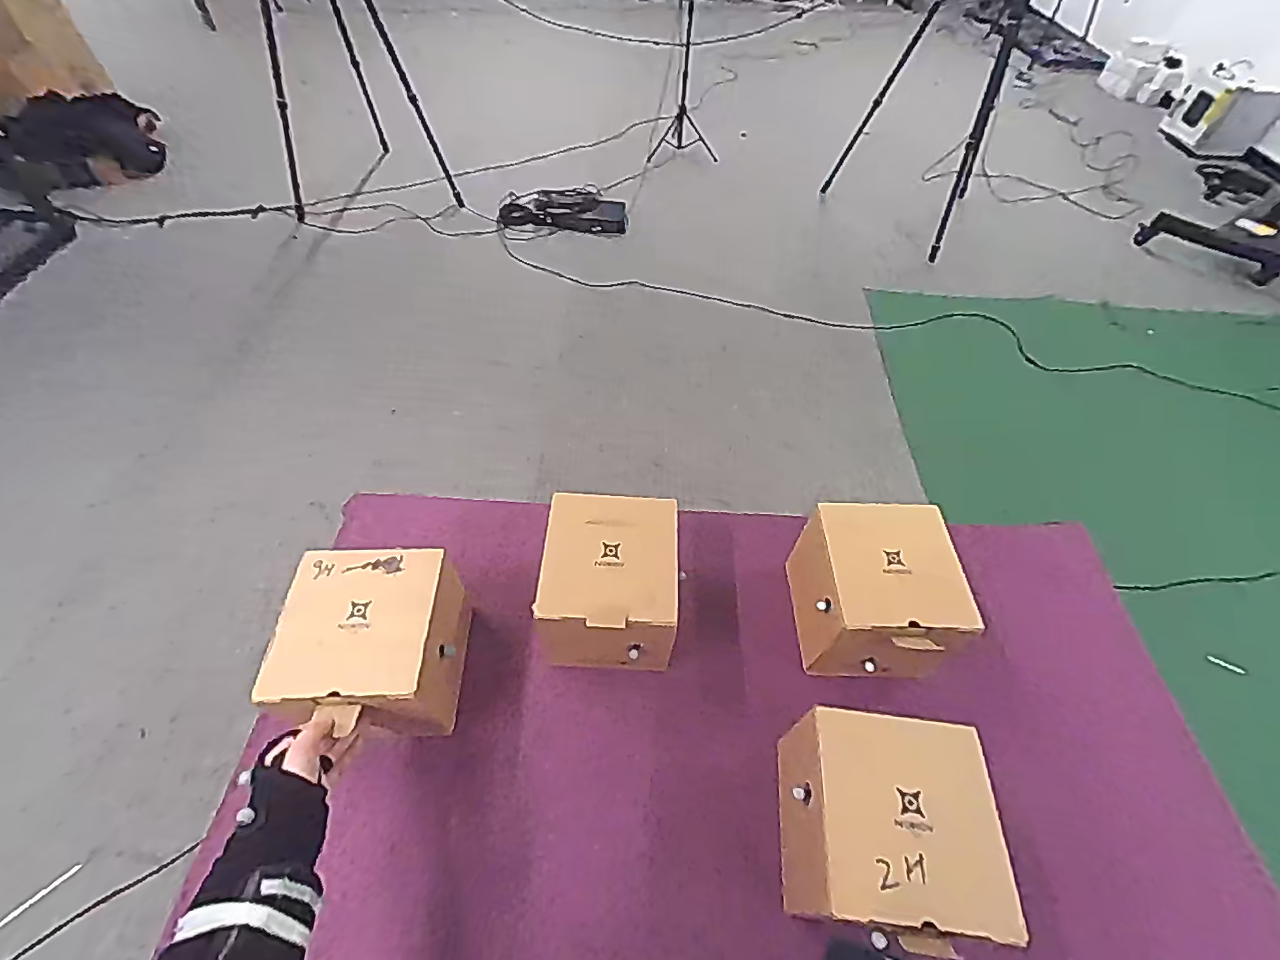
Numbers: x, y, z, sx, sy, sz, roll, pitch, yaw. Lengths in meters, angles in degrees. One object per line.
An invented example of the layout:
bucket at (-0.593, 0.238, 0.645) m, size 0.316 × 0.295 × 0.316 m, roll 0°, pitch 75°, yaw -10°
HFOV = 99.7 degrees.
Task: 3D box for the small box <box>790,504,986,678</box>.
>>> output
small box at (0.312, 0.152, 0.730) m, size 0.168 × 0.176 × 0.179 m, roll 1°, pitch 53°, yaw -1°

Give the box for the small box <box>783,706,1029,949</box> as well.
small box at (0.250, 0.359, 0.565) m, size 0.168 × 0.176 × 0.179 m, roll 6°, pitch 52°, yaw 3°

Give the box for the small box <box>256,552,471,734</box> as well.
small box at (-0.315, 0.205, 0.664) m, size 0.168 × 0.176 × 0.179 m, roll 0°, pitch 53°, yaw -3°

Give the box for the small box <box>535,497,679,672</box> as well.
small box at (-0.037, 0.144, 0.722) m, size 0.168 × 0.176 × 0.179 m, roll 3°, pitch 52°, yaw -1°
